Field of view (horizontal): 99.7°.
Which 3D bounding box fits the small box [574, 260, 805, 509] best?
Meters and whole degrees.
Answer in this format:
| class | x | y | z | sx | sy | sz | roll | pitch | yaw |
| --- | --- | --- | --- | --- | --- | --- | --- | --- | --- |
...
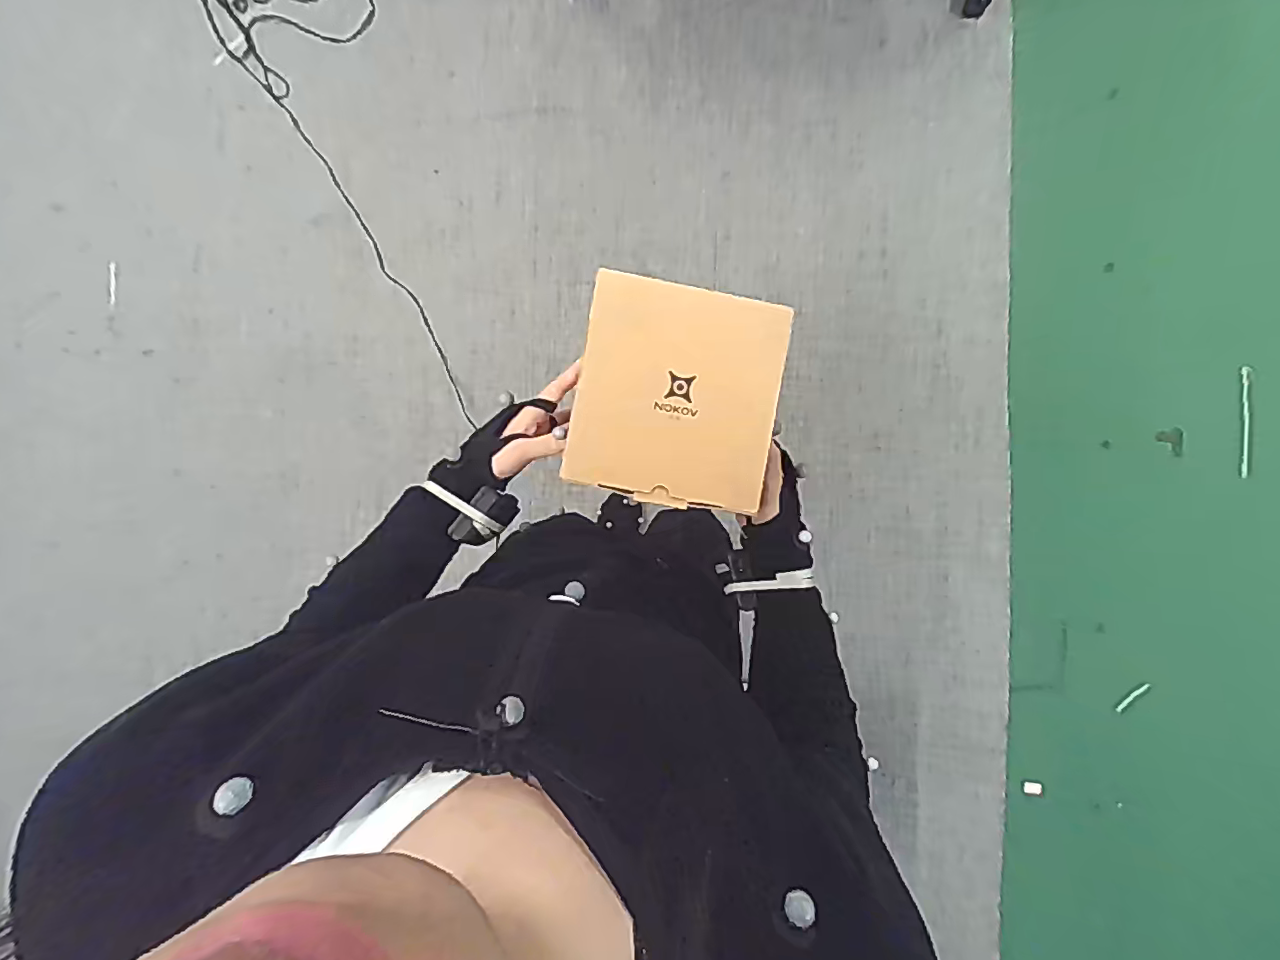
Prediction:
| class | x | y | z | sx | sy | sz | roll | pitch | yaw |
| --- | --- | --- | --- | --- | --- | --- | --- | --- | --- |
| small box | 0.035 | -0.075 | 0.511 | 0.168 | 0.176 | 0.179 | 10 | 90 | -4 |
